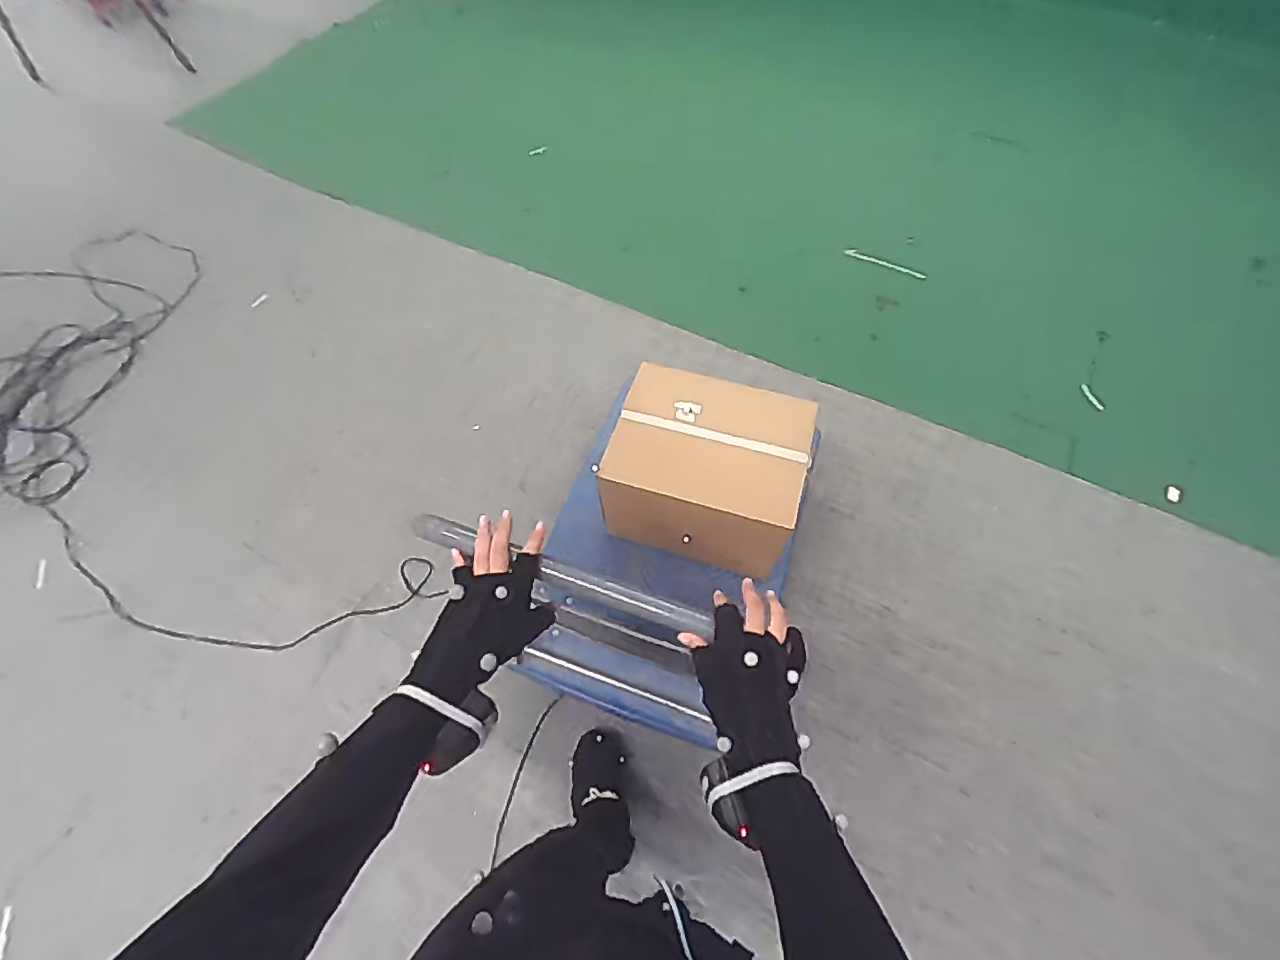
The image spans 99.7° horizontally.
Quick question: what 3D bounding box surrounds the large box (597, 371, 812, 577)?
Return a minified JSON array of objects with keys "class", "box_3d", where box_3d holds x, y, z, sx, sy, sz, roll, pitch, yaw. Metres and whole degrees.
[{"class":"large box","box_3d":[0.151,-0.006,1.264,0.408,0.320,0.320,14,62,10]}]
